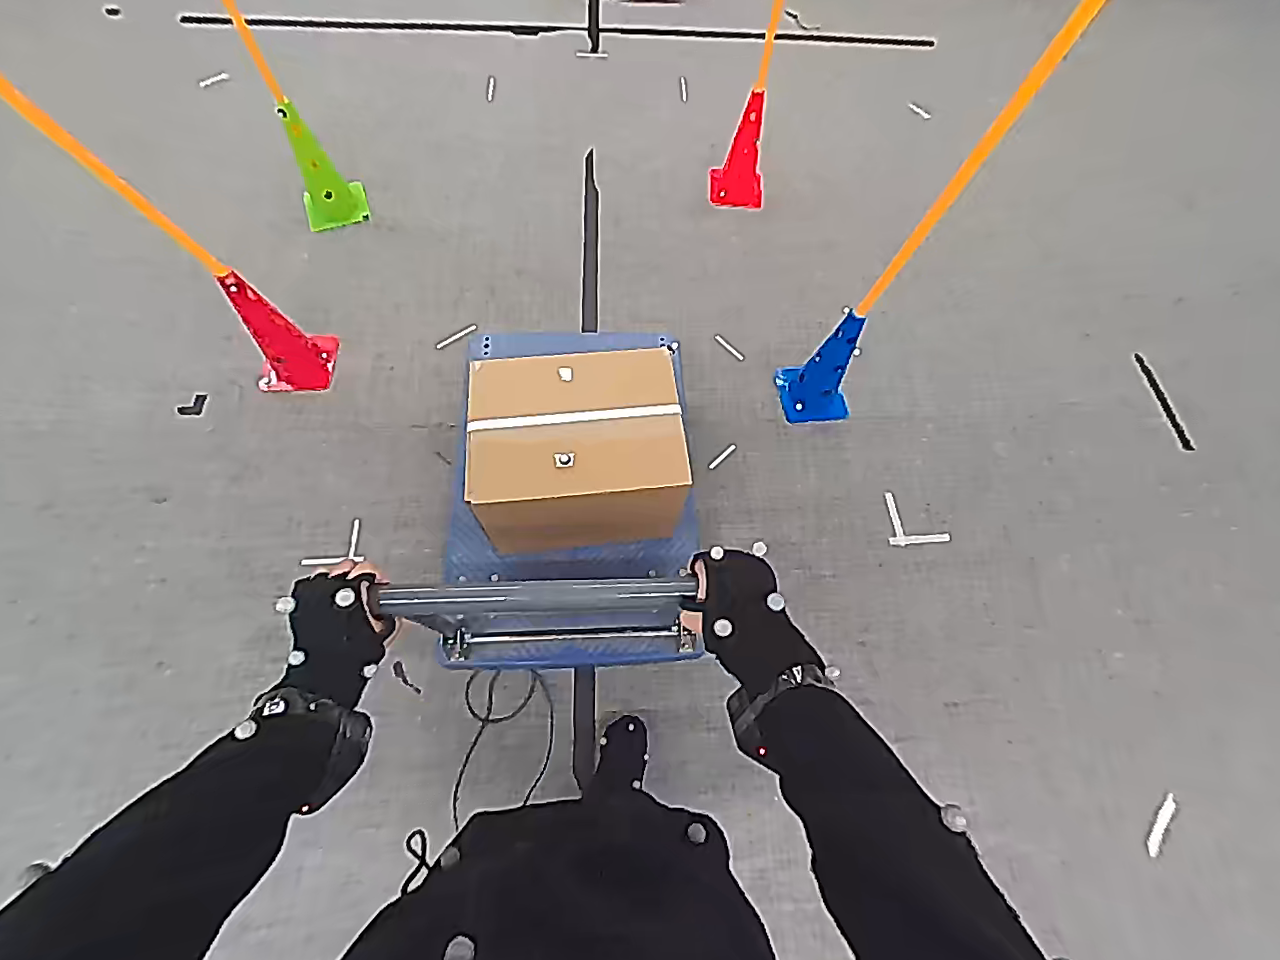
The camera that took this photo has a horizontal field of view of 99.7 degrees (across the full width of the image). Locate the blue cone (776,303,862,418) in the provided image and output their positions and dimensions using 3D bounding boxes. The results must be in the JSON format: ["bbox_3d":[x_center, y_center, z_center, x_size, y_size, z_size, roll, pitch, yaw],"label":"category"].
[{"bbox_3d":[0.538,-0.346,1.528,0.193,0.380,0.192,-5,65,-6],"label":"blue cone"}]

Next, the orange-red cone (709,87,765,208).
[{"bbox_3d":[0.372,-1.170,1.880,0.199,0.360,0.198,5,66,-2],"label":"orange-red cone"}]
